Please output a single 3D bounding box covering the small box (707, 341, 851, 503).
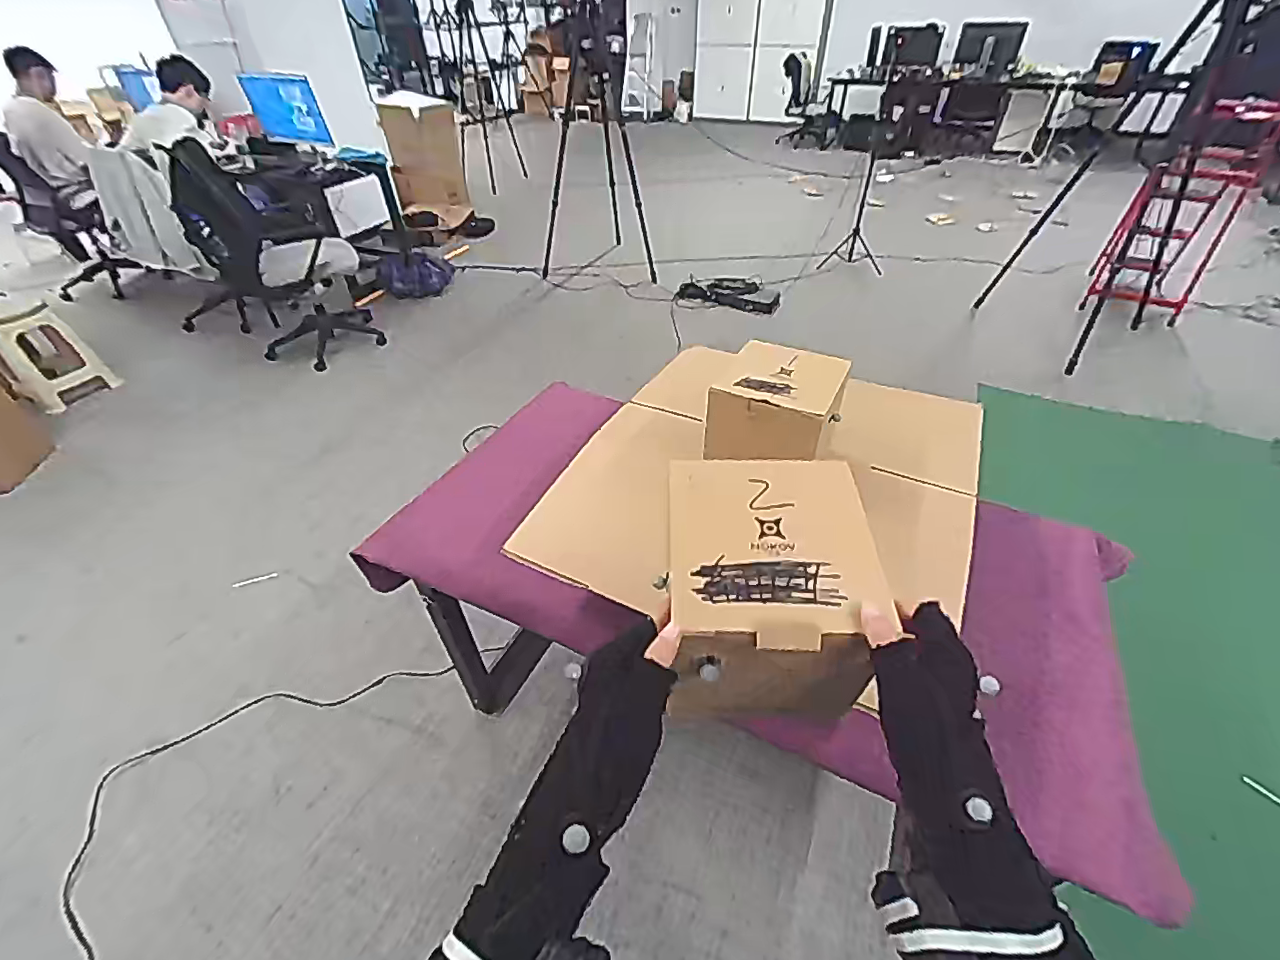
[{"bbox_3d":[0.211,-0.091,0.844,0.168,0.176,0.179,19,44,22],"label":"small box"}]
